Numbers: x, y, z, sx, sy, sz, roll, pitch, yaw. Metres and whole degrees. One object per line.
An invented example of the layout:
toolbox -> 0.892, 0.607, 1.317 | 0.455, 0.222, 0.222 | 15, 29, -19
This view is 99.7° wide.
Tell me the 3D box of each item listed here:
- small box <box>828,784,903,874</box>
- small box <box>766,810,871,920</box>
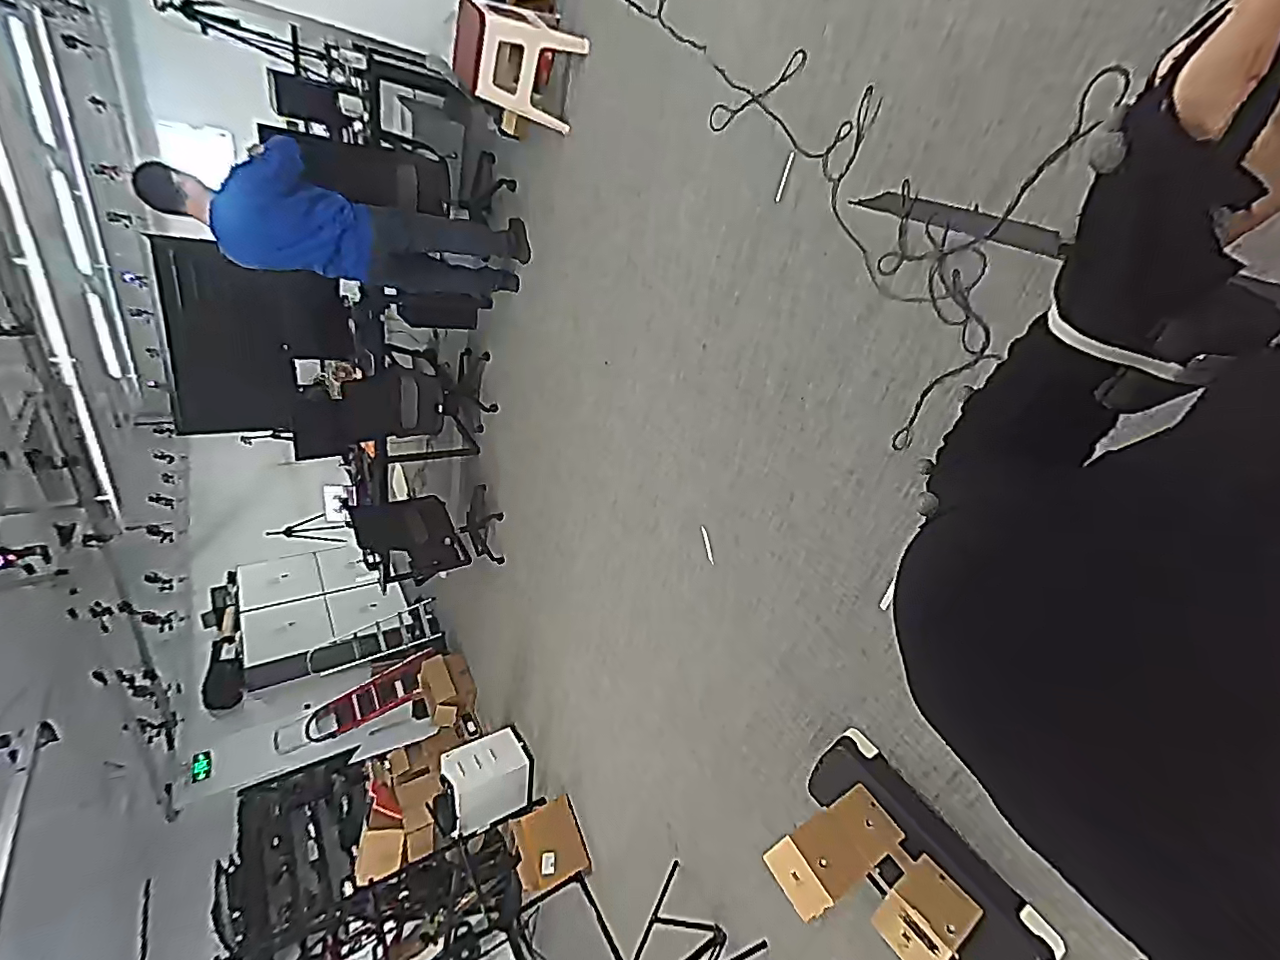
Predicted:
small box -> 0.628, 1.029, 1.572 | 0.168, 0.176, 0.179 | 48, 134, 38
small box -> 0.490, 1.045, 1.486 | 0.179, 0.176, 0.168 | 50, 135, 35
